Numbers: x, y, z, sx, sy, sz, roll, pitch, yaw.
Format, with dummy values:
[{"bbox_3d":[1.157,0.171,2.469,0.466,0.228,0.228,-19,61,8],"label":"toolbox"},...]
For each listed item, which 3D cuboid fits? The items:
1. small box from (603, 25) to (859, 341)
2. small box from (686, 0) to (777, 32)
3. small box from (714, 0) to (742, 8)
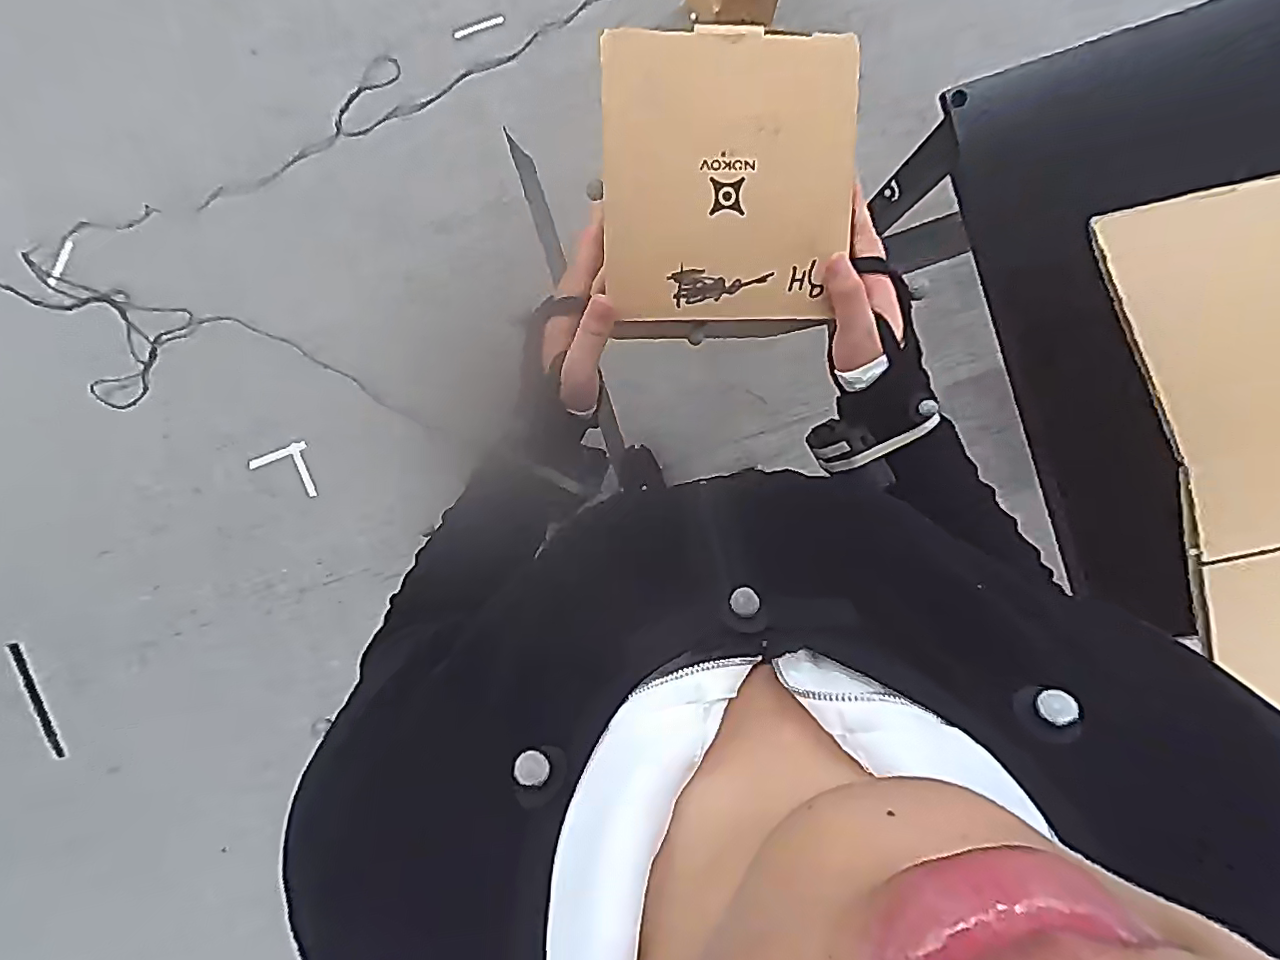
[{"bbox_3d":[0.054,-0.209,0.429,0.168,0.176,0.179,-1,100,-3],"label":"small box"},{"bbox_3d":[0.224,-1.203,1.341,0.179,0.176,0.168,-22,93,3],"label":"small box"},{"bbox_3d":[0.227,-1.197,1.179,0.179,0.176,0.168,-25,94,1],"label":"small box"}]
